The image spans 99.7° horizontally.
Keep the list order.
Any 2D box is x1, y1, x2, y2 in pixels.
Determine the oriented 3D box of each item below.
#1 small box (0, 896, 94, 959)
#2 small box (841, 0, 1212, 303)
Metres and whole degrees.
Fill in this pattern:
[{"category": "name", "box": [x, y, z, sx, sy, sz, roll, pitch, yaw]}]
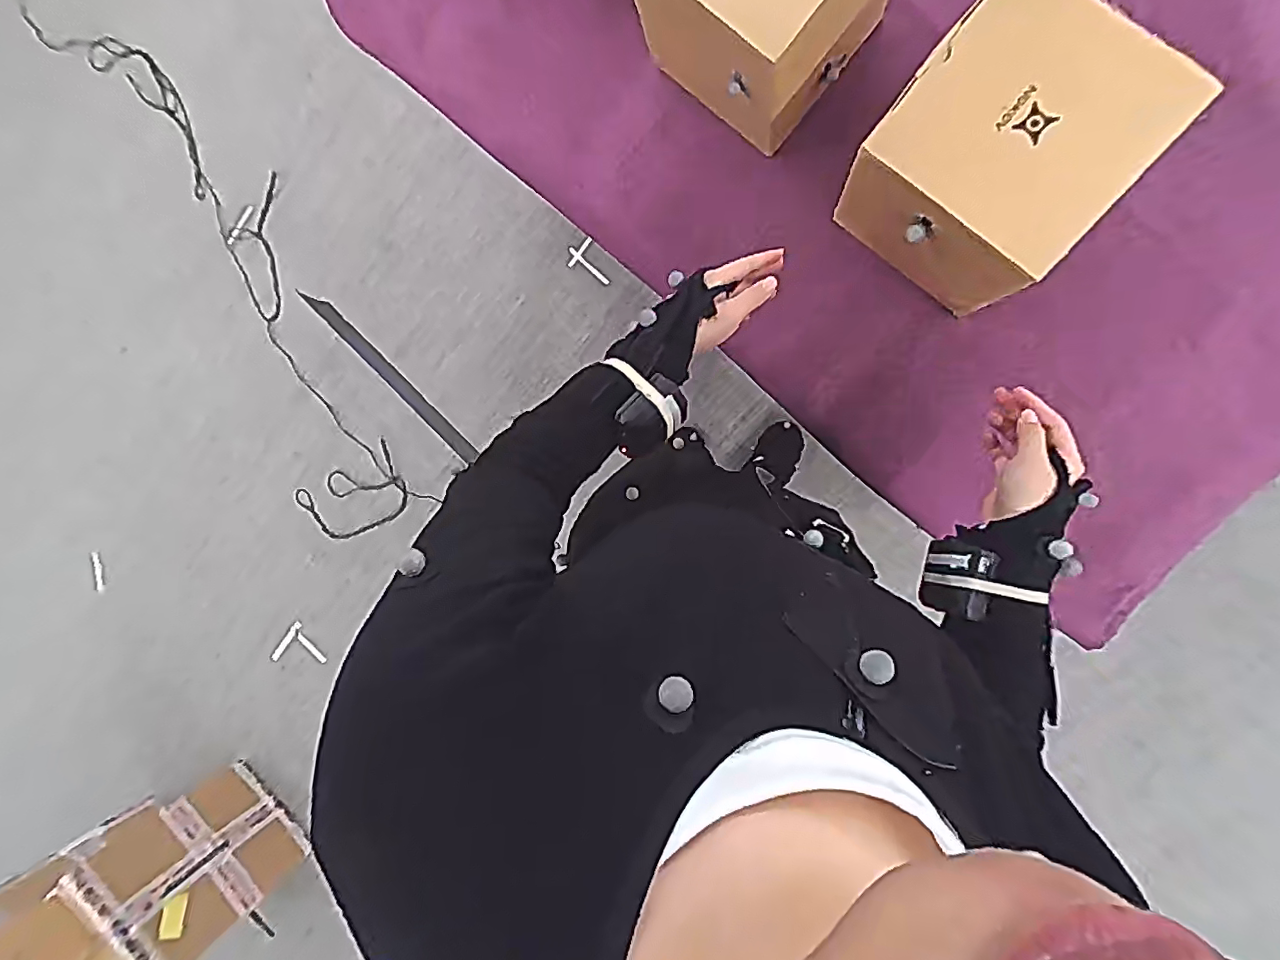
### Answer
[{"category": "small box", "box": [-1.507, 1.184, 1.319, 0.179, 0.176, 0.168, 44, 101, 7]}, {"category": "small box", "box": [0.309, -0.280, 0.483, 0.179, 0.176, 0.168, 41, 103, 6]}]
